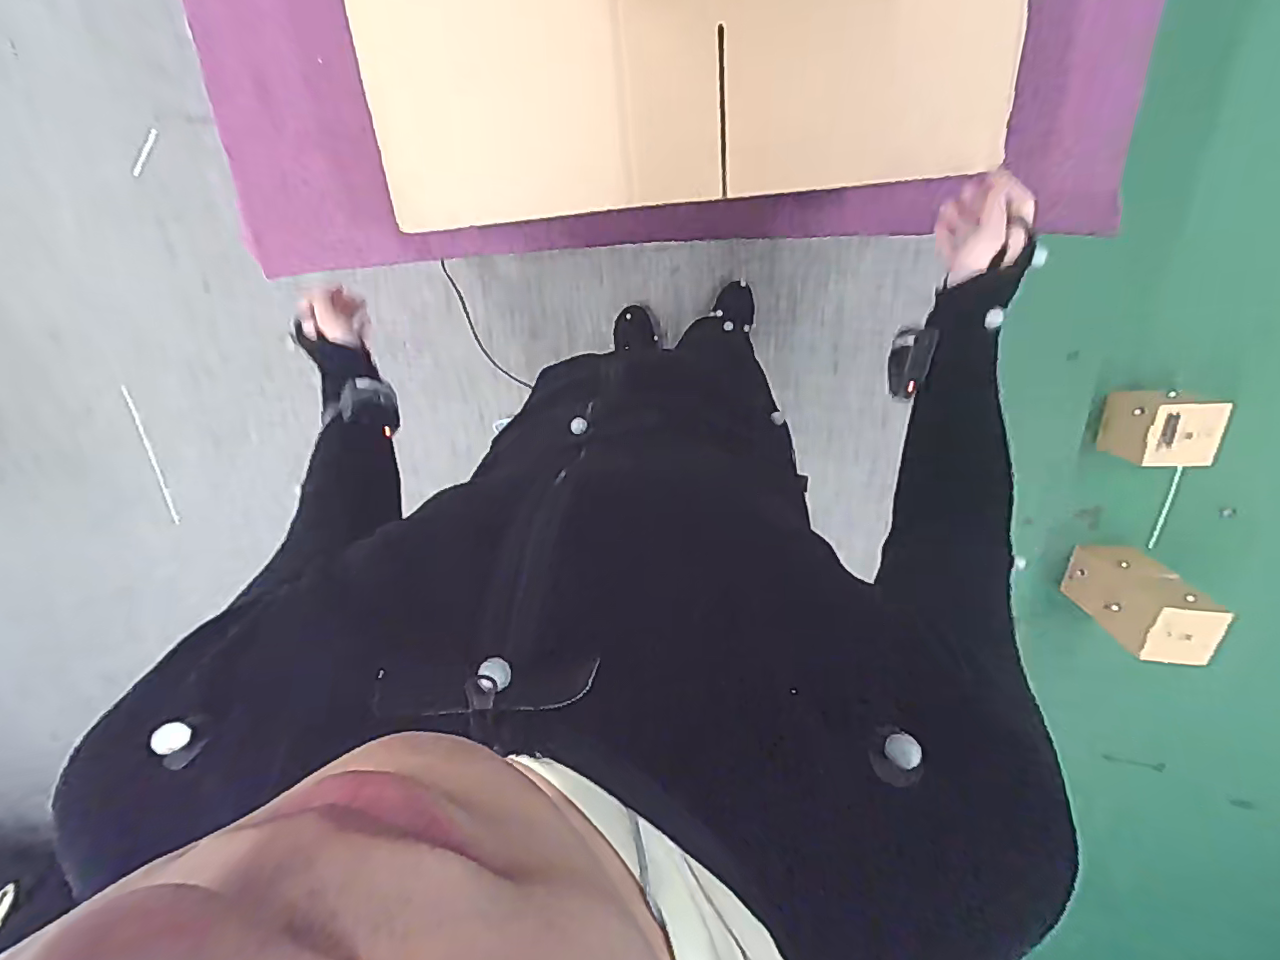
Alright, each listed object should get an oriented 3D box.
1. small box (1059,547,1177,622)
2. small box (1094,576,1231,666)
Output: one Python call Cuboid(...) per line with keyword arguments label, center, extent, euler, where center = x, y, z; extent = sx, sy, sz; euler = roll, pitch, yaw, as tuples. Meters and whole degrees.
Cuboid(label="small box", center=(1.418, 0.314, 1.617), extent=(0.179, 0.176, 0.168), euler=(3, 112, 4))
Cuboid(label="small box", center=(1.402, 0.377, 1.466), extent=(0.179, 0.176, 0.168), euler=(5, 112, 3))
